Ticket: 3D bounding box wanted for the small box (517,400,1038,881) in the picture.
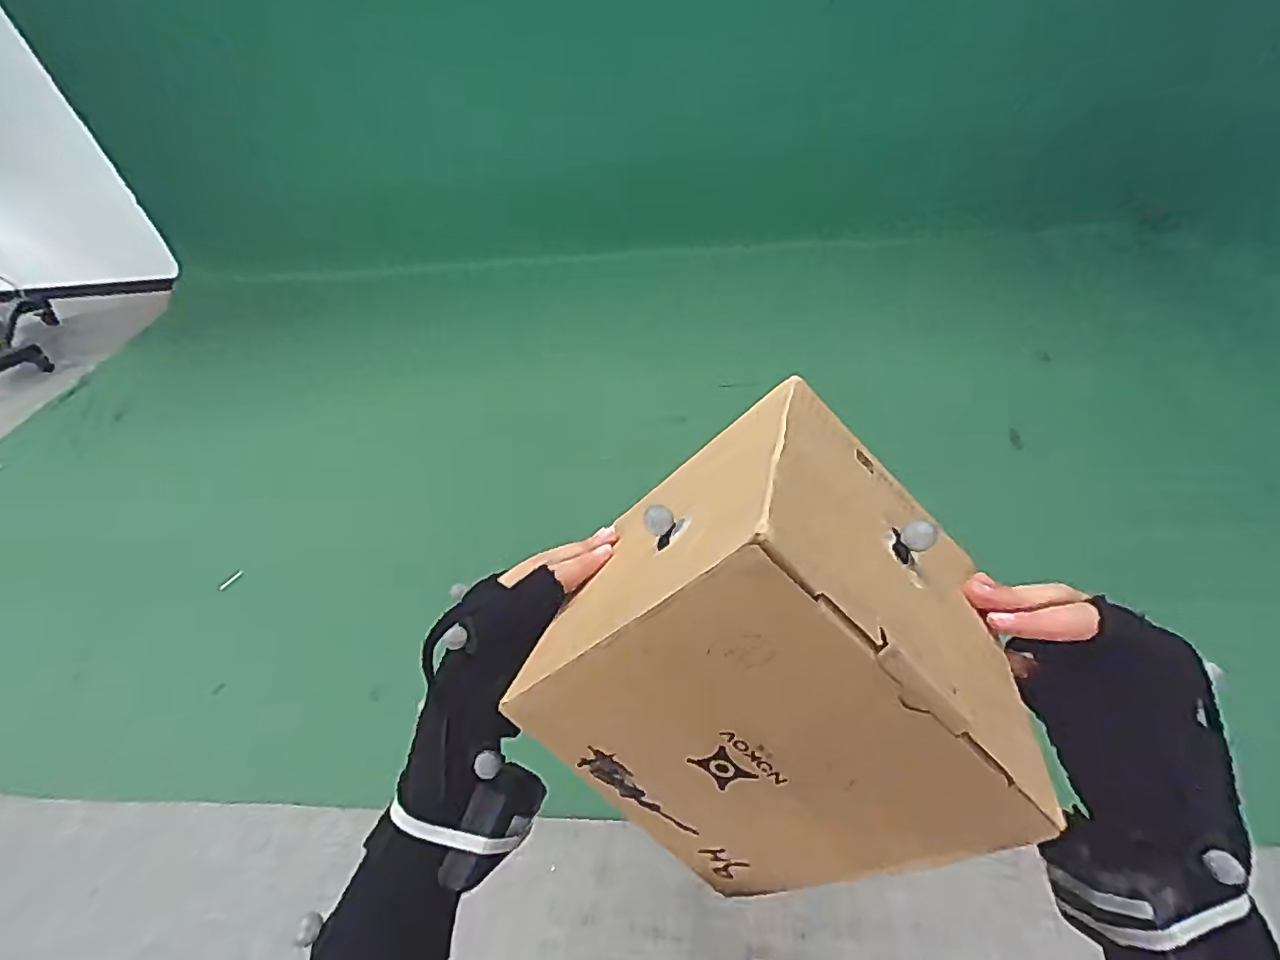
[{"bbox_3d":[0.069,0.082,0.313,0.168,0.179,0.176,44,32,-7],"label":"small box"}]
